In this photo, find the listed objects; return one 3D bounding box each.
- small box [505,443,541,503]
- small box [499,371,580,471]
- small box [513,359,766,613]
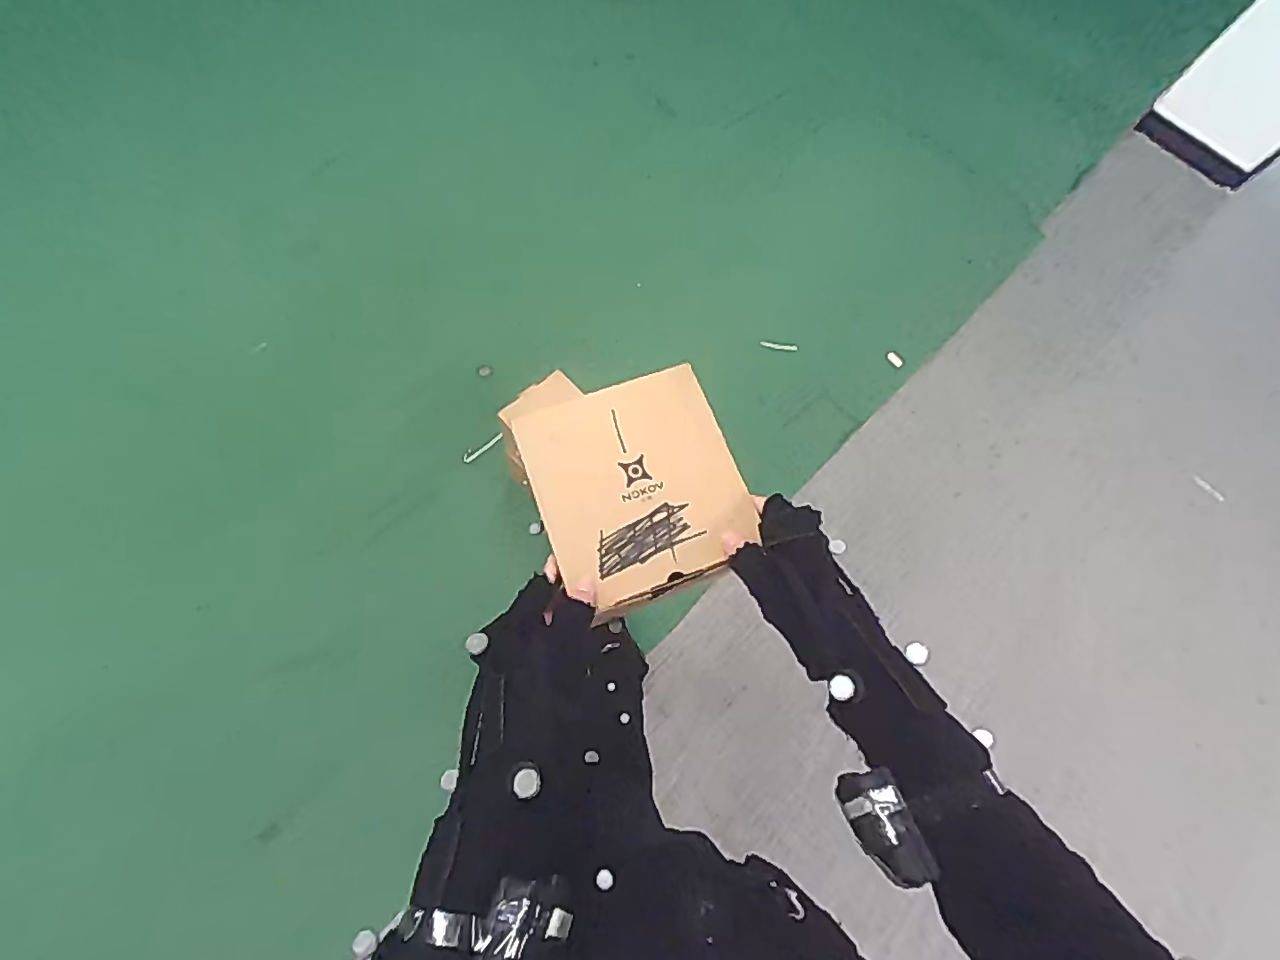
[{"bbox_3d":[-0.200,-0.038,1.299,0.168,0.176,0.179,-40,80,-18],"label":"small box"},{"bbox_3d":[-0.179,-0.093,1.166,0.168,0.176,0.179,-41,79,-19],"label":"small box"},{"bbox_3d":[-0.007,0.019,0.518,0.168,0.176,0.179,-19,74,-10],"label":"small box"}]
